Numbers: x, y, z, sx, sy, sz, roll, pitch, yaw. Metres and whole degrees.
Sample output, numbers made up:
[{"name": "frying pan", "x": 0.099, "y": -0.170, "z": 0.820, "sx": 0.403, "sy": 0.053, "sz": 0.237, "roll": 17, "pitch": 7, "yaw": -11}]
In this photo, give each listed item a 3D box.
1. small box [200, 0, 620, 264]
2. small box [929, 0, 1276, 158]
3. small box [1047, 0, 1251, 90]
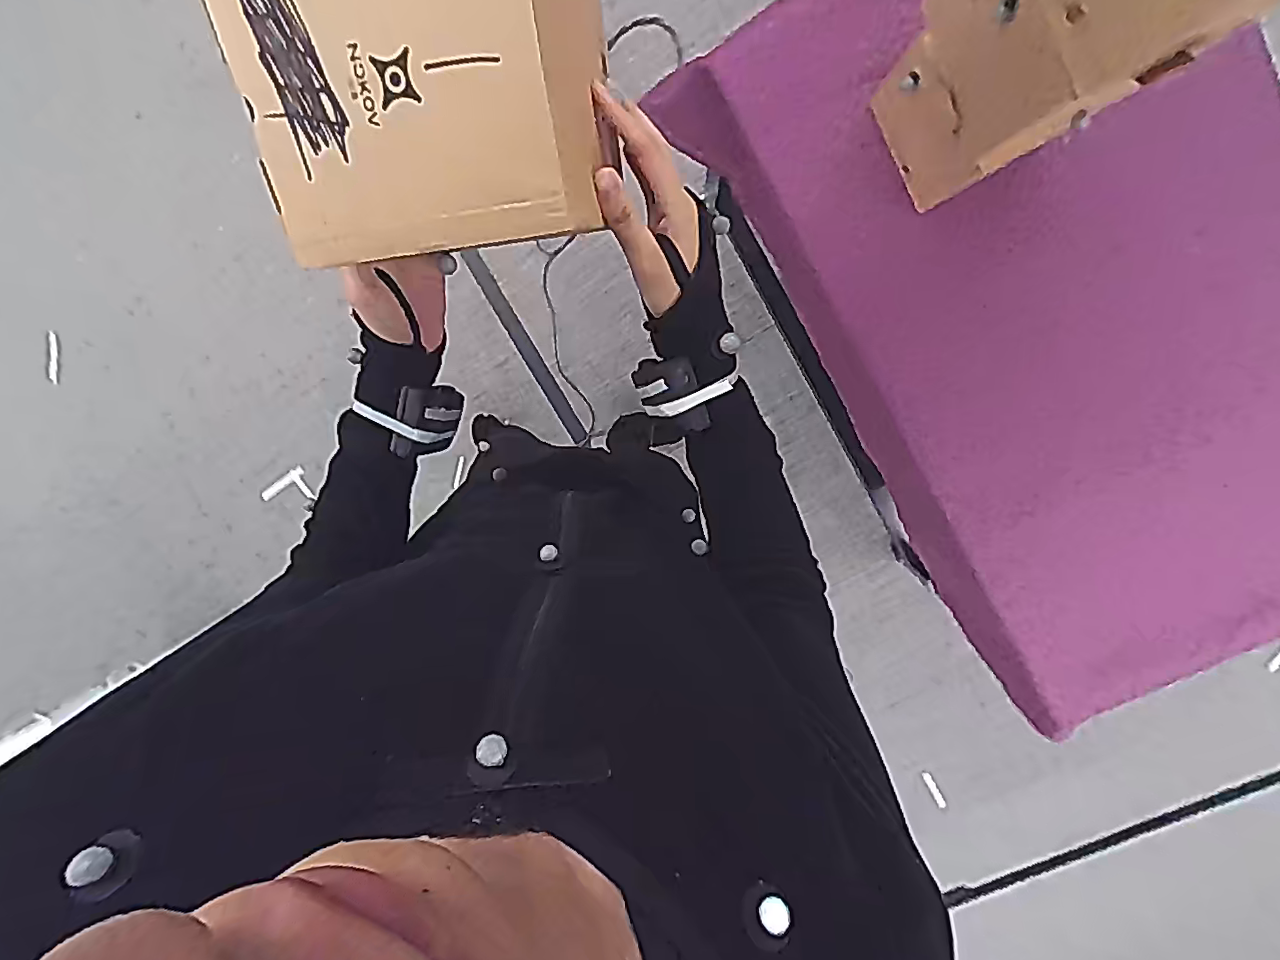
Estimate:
[{"name": "small box", "x": -0.123, "y": -0.242, "z": 0.352, "sx": 0.179, "sy": 0.176, "sz": 0.168, "roll": -4, "pitch": 115, "yaw": 12}, {"name": "small box", "x": 0.402, "y": -0.444, "z": 0.501, "sx": 0.168, "sy": 0.176, "sz": 0.179, "roll": -22, "pitch": 101, "yaw": 9}, {"name": "small box", "x": 0.388, "y": -0.404, "z": 0.344, "sx": 0.179, "sy": 0.176, "sz": 0.168, "roll": -29, "pitch": 99, "yaw": 9}]
